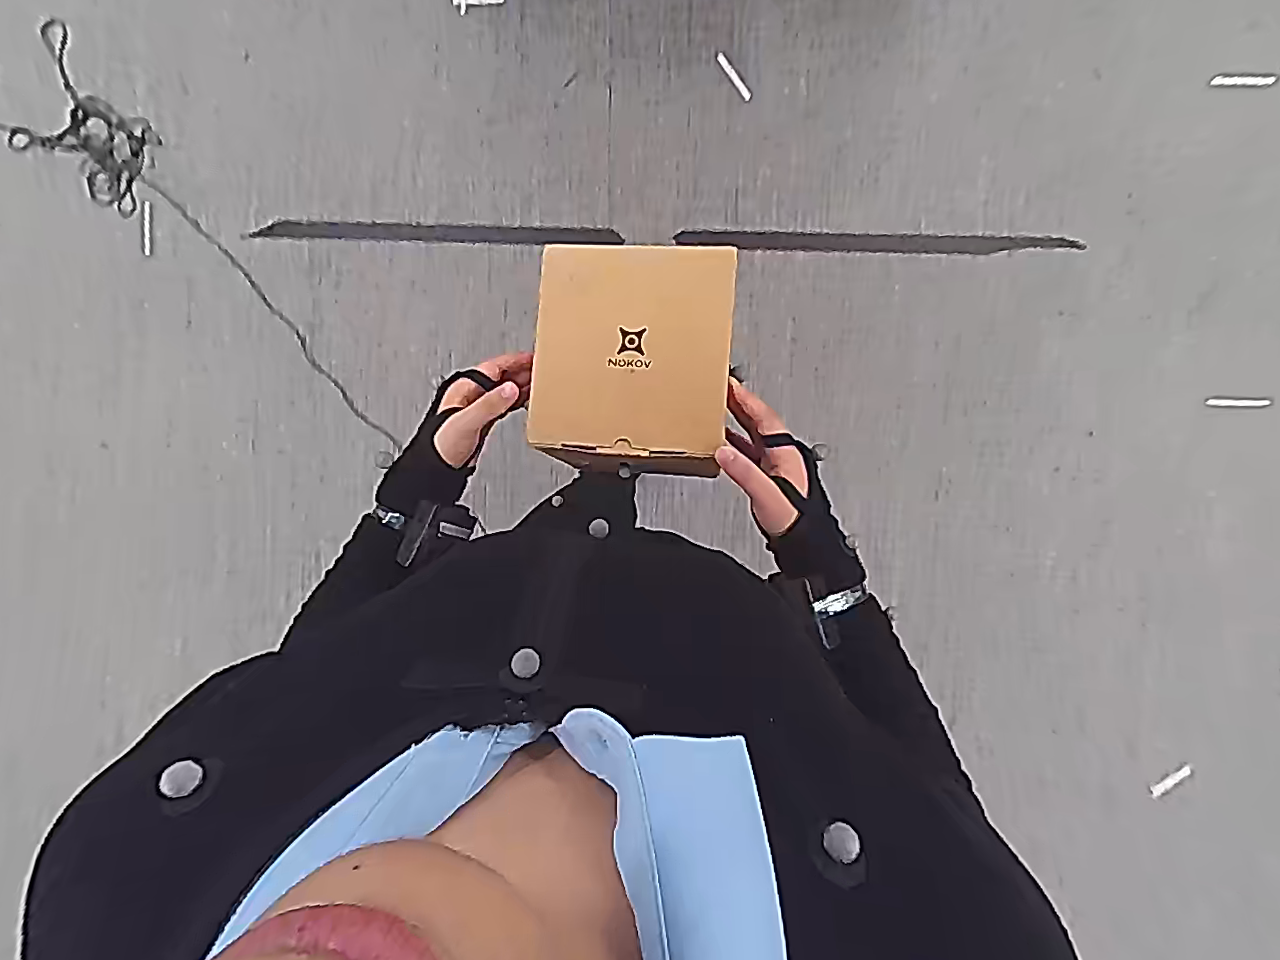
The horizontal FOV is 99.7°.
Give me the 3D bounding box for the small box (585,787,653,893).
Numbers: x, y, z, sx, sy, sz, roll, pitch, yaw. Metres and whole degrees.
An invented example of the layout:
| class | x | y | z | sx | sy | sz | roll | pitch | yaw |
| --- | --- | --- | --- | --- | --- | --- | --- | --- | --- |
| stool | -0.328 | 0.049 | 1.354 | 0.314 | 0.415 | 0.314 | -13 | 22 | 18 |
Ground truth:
| class | x | y | z | sx | sy | sz | roll | pitch | yaw |
| --- | --- | --- | --- | --- | --- | --- | --- | --- | --- |
| small box | -0.051 | 0.934 | 1.418 | 0.168 | 0.176 | 0.179 | -3 | 93 | 2 |
